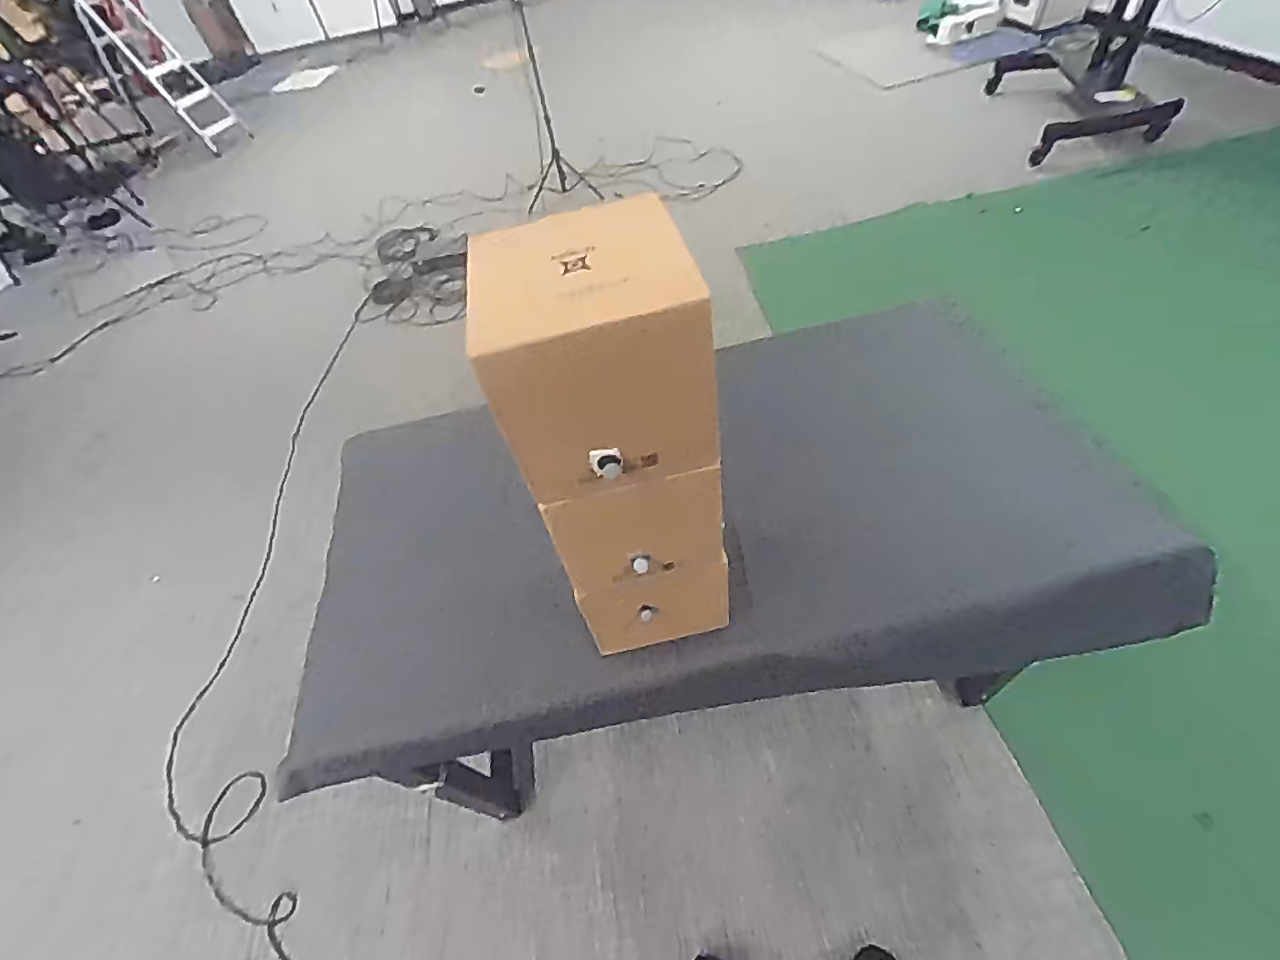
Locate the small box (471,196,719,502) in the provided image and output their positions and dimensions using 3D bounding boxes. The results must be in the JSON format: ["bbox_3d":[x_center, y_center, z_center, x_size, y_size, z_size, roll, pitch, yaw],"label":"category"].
[{"bbox_3d":[-0.035,-0.110,0.467,0.168,0.176,0.179,-14,51,-1],"label":"small box"}]

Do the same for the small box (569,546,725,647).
[{"bbox_3d":[0.007,0.101,0.712,0.179,0.176,0.168,-13,50,-1],"label":"small box"}]

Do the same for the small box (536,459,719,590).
[{"bbox_3d":[-0.014,-0.007,0.589,0.168,0.176,0.179,-12,50,-1],"label":"small box"}]
